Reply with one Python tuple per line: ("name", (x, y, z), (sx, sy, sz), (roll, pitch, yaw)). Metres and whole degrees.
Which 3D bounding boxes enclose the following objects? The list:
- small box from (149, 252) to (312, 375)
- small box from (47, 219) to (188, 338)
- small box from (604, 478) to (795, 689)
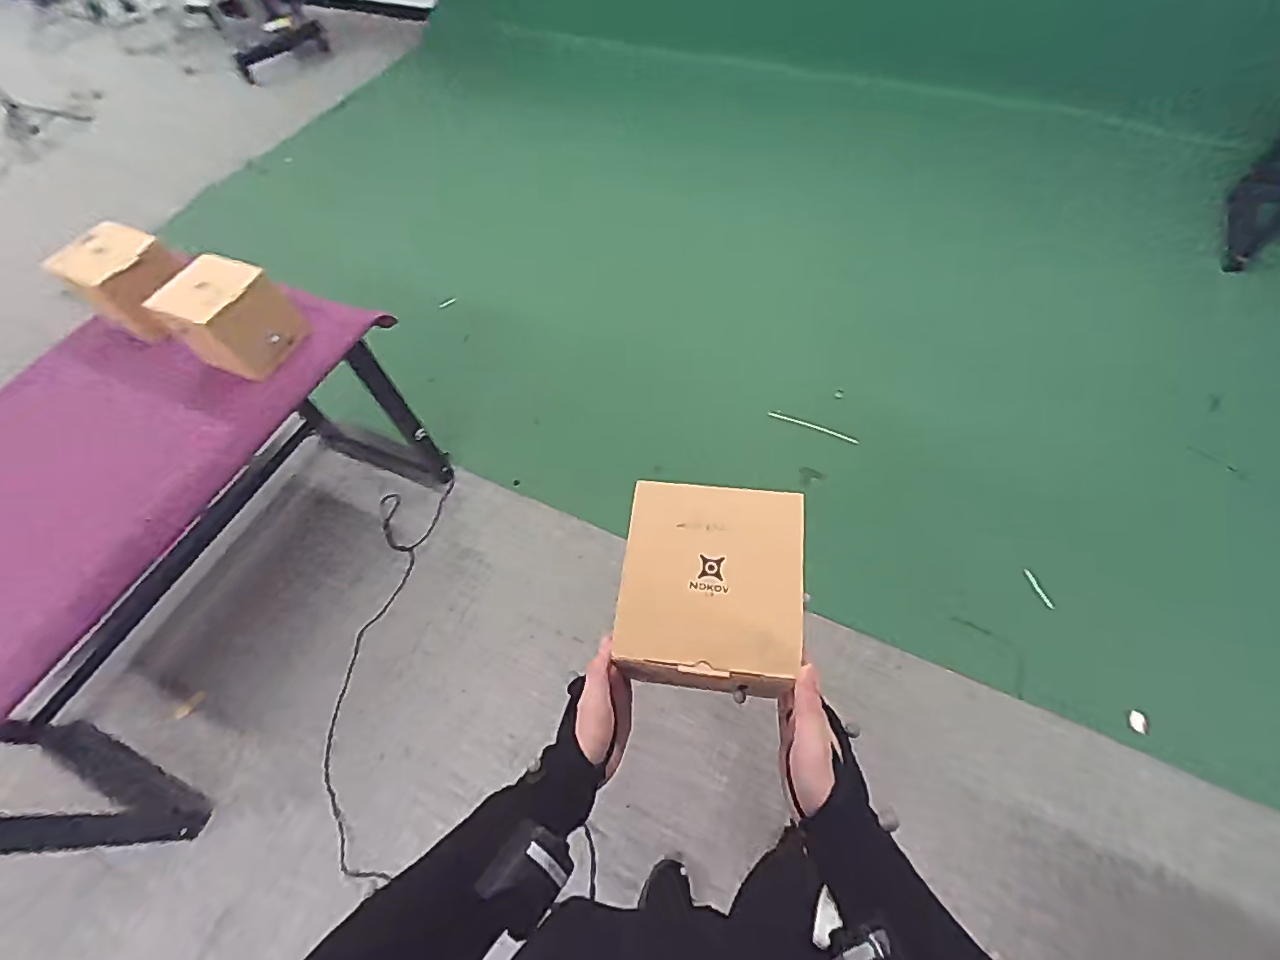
("small box", (-0.859, -0.349, 1.152), (0.179, 0.176, 0.168), (20, 64, 15))
("small box", (-1.146, -0.453, 1.232), (0.179, 0.176, 0.168), (23, 64, 13))
("small box", (0.067, 0.116, 0.572), (0.168, 0.176, 0.179), (4, 64, 8))
